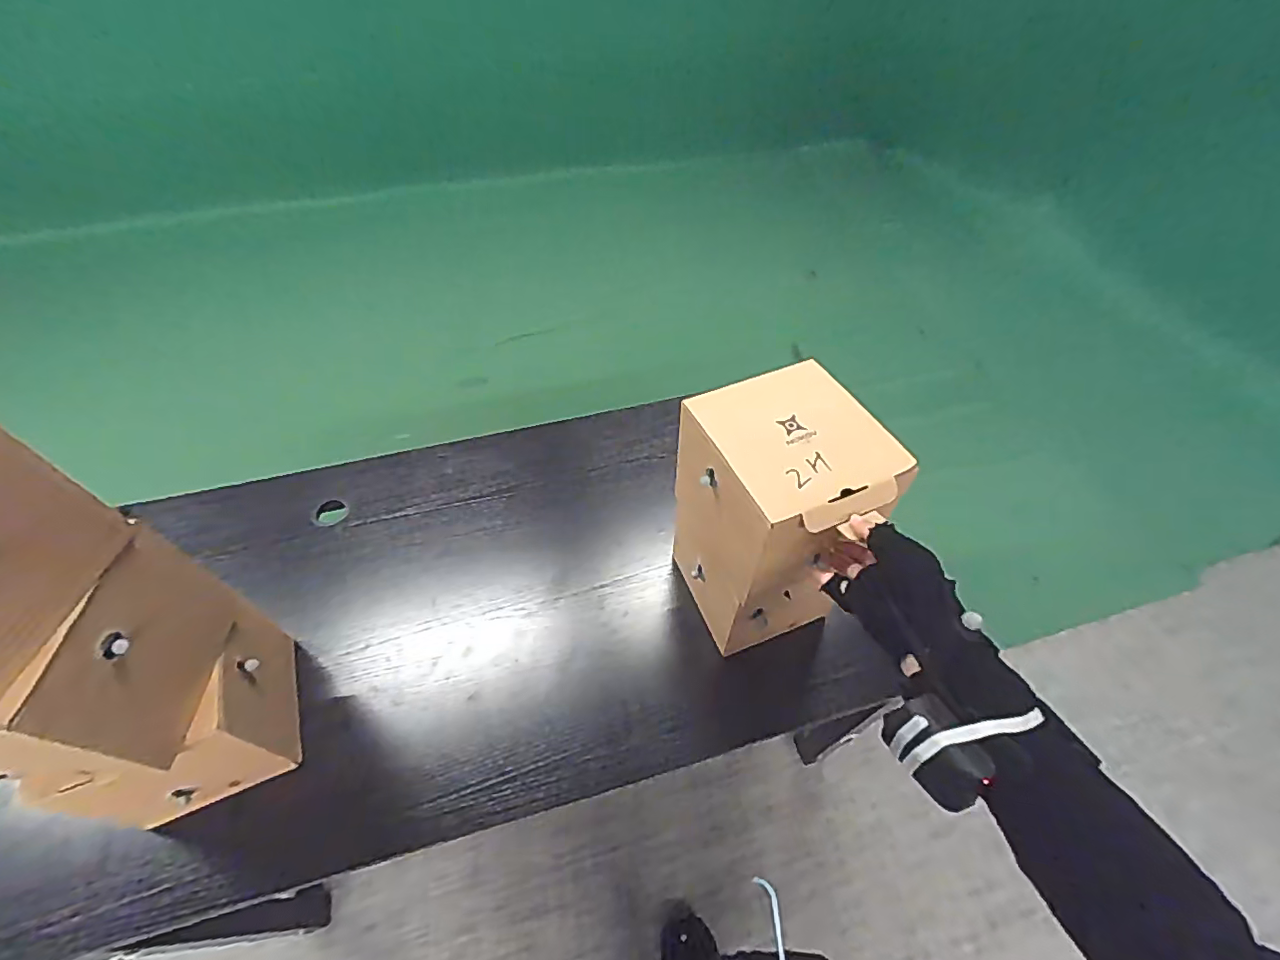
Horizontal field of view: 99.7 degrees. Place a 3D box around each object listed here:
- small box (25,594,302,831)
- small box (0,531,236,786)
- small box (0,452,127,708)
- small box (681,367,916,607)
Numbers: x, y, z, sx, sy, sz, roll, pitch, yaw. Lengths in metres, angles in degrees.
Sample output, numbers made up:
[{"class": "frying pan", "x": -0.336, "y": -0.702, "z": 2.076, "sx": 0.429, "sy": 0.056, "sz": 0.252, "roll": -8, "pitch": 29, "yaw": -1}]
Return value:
[{"class": "small box", "x": -0.513, "y": 0.266, "z": 0.615, "sx": 0.168, "sy": 0.176, "sz": 0.179, "roll": -19, "pitch": 56, "yaw": -15}, {"class": "small box", "x": -0.515, "y": 0.165, "z": 0.485, "sx": 0.168, "sy": 0.176, "sz": 0.179, "roll": -2, "pitch": 52, "yaw": -3}, {"class": "small box", "x": -0.519, "y": 0.061, "z": 0.358, "sx": 0.168, "sy": 0.176, "sz": 0.179, "roll": 7, "pitch": 54, "yaw": 4}, {"class": "small box", "x": 0.154, "y": 0.009, "z": 0.601, "sx": 0.168, "sy": 0.176, "sz": 0.179, "roll": -20, "pitch": 55, "yaw": -14}]
